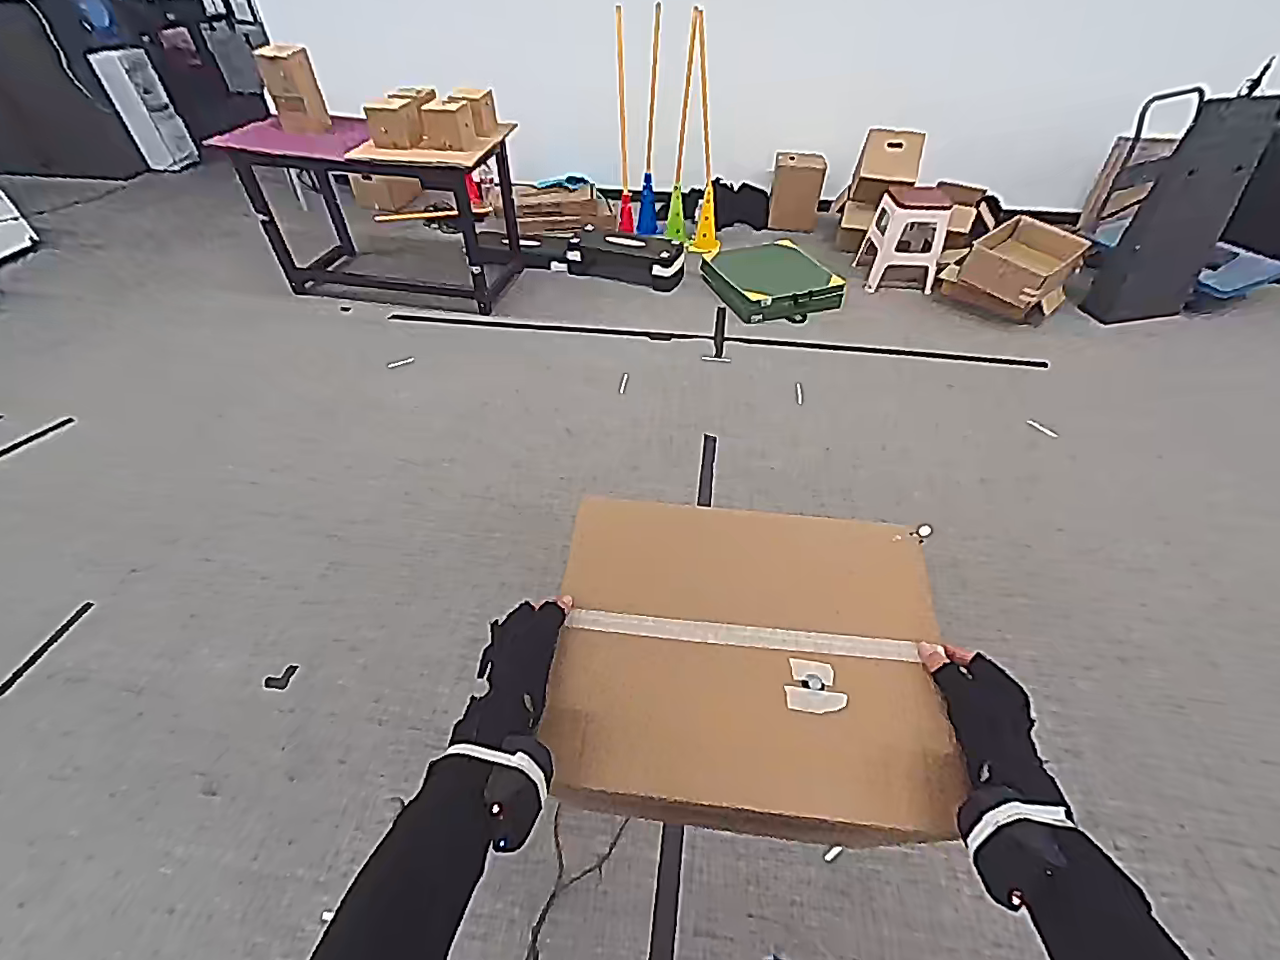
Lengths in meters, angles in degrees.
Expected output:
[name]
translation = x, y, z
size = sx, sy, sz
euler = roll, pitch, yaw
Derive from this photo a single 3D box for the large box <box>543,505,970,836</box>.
[large box]
translation = 0.116, 0.255, 0.704
size = 0.408, 0.320, 0.320
euler = 5, 55, 4
